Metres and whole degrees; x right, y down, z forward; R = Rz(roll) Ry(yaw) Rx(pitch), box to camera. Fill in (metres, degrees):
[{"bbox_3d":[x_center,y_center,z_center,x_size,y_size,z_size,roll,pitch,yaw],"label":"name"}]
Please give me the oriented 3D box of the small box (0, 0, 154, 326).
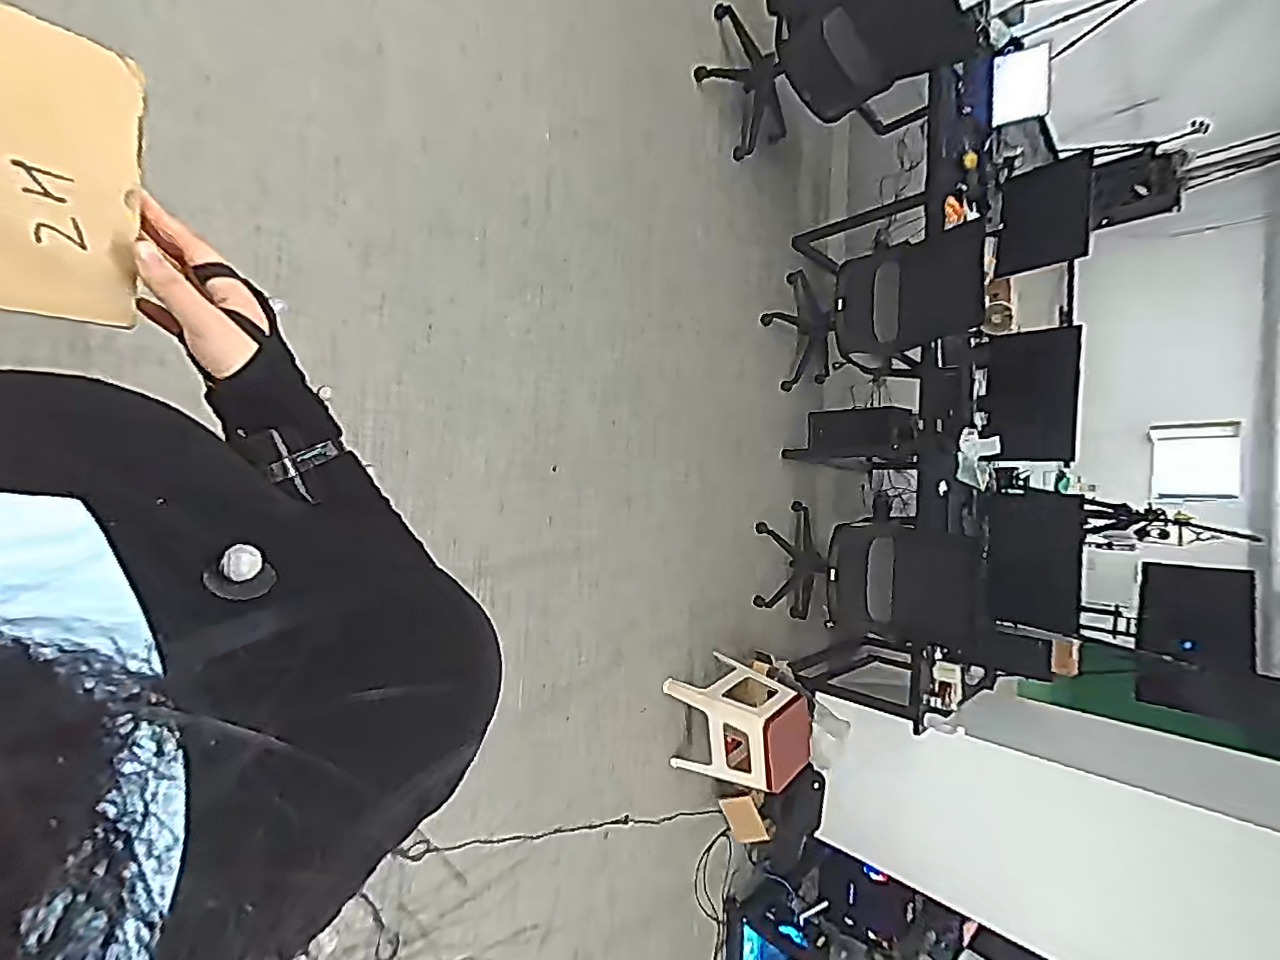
[{"bbox_3d":[-0.436,-0.205,0.337,0.179,0.176,0.168,0,107,-50],"label":"small box"}]
